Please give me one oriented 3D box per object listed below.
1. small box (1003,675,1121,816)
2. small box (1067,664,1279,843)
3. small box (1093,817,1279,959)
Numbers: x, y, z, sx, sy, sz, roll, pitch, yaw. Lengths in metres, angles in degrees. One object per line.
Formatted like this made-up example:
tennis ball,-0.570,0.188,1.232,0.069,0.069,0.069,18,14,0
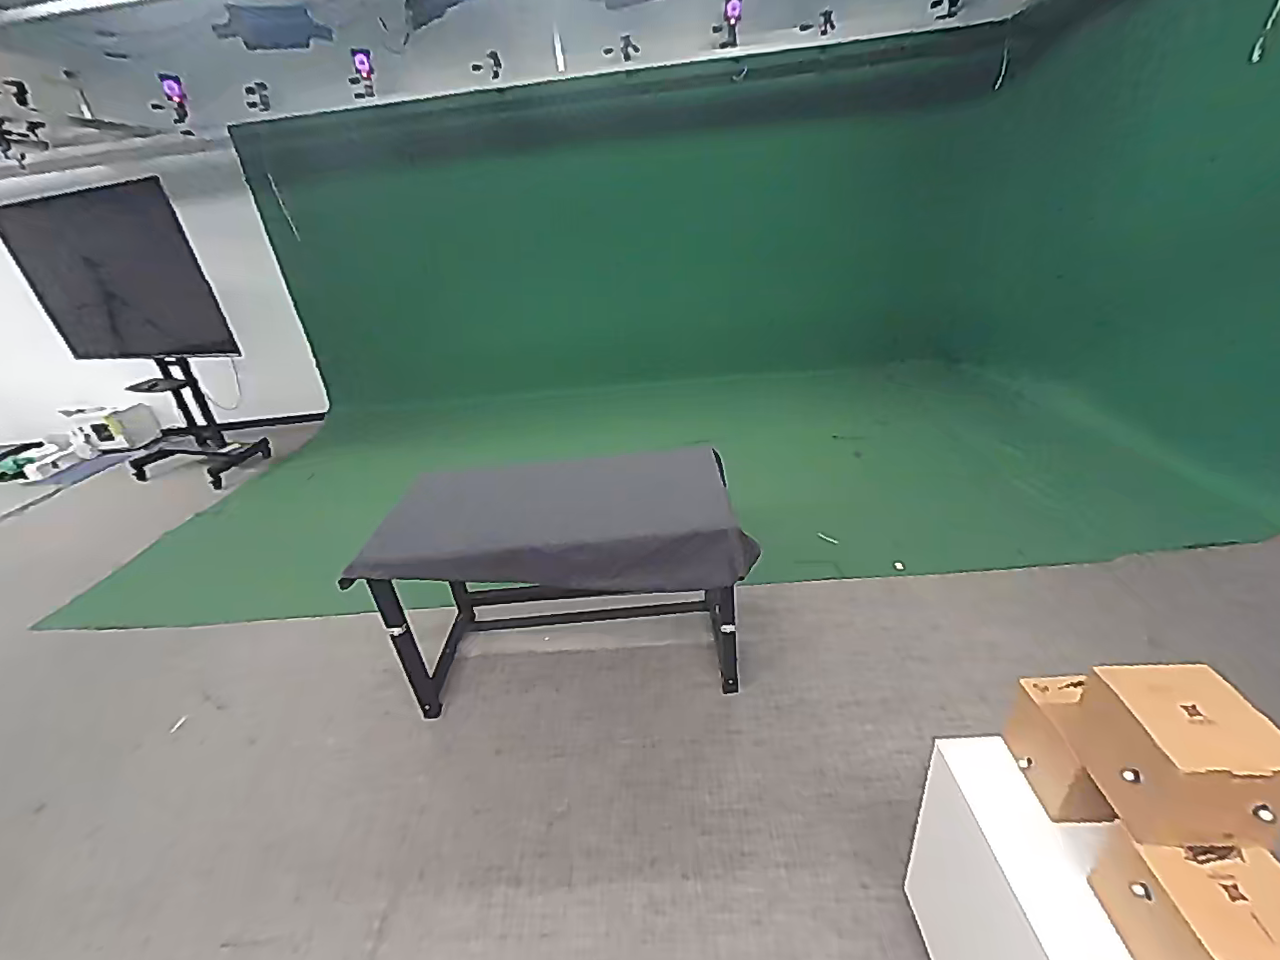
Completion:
small box,0.794,0.477,0.969,0.168,0.176,0.179,-4,30,4
small box,0.773,0.393,0.783,0.168,0.176,0.179,-3,27,5
small box,0.777,0.598,0.740,0.168,0.176,0.179,-4,28,7
